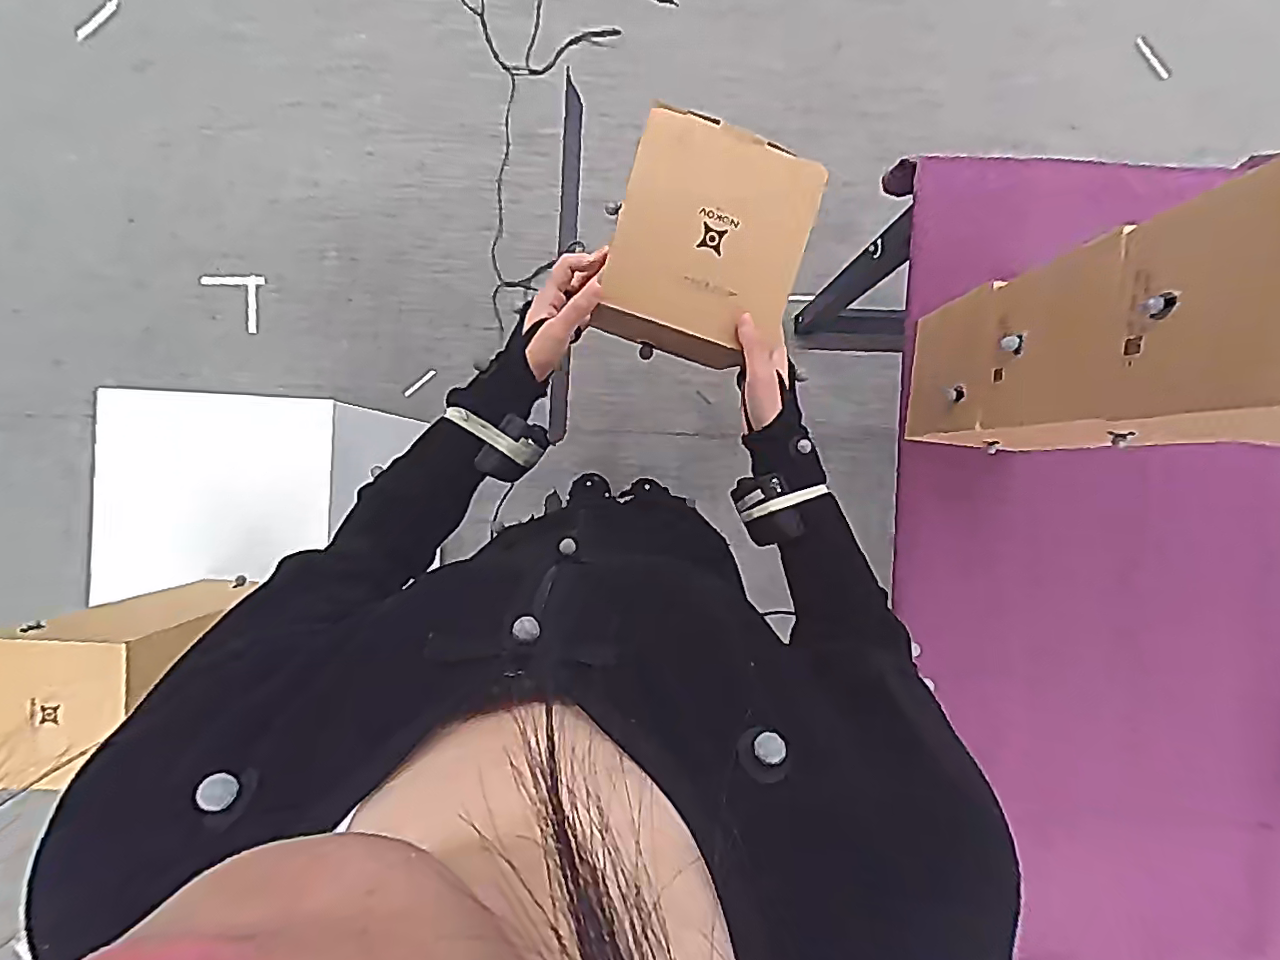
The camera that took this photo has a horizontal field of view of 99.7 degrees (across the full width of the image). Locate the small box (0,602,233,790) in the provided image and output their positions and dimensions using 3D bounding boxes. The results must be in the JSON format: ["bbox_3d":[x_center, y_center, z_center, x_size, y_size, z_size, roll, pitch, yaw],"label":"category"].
[{"bbox_3d":[-0.644,0.251,0.665,0.179,0.176,0.168,2,91,0],"label":"small box"}]

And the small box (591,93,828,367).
[{"bbox_3d":[0.051,-0.223,0.539,0.168,0.176,0.179,16,96,-10],"label":"small box"}]

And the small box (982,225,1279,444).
[{"bbox_3d":[0.483,-0.126,0.533,0.179,0.176,0.168,6,91,0],"label":"small box"}]

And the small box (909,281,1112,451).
[{"bbox_3d":[0.473,-0.133,0.697,0.168,0.176,0.179,7,91,-1],"label":"small box"}]

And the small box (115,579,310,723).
[{"bbox_3d":[-0.647,0.250,0.829,0.179,0.176,0.168,3,90,0],"label":"small box"}]
